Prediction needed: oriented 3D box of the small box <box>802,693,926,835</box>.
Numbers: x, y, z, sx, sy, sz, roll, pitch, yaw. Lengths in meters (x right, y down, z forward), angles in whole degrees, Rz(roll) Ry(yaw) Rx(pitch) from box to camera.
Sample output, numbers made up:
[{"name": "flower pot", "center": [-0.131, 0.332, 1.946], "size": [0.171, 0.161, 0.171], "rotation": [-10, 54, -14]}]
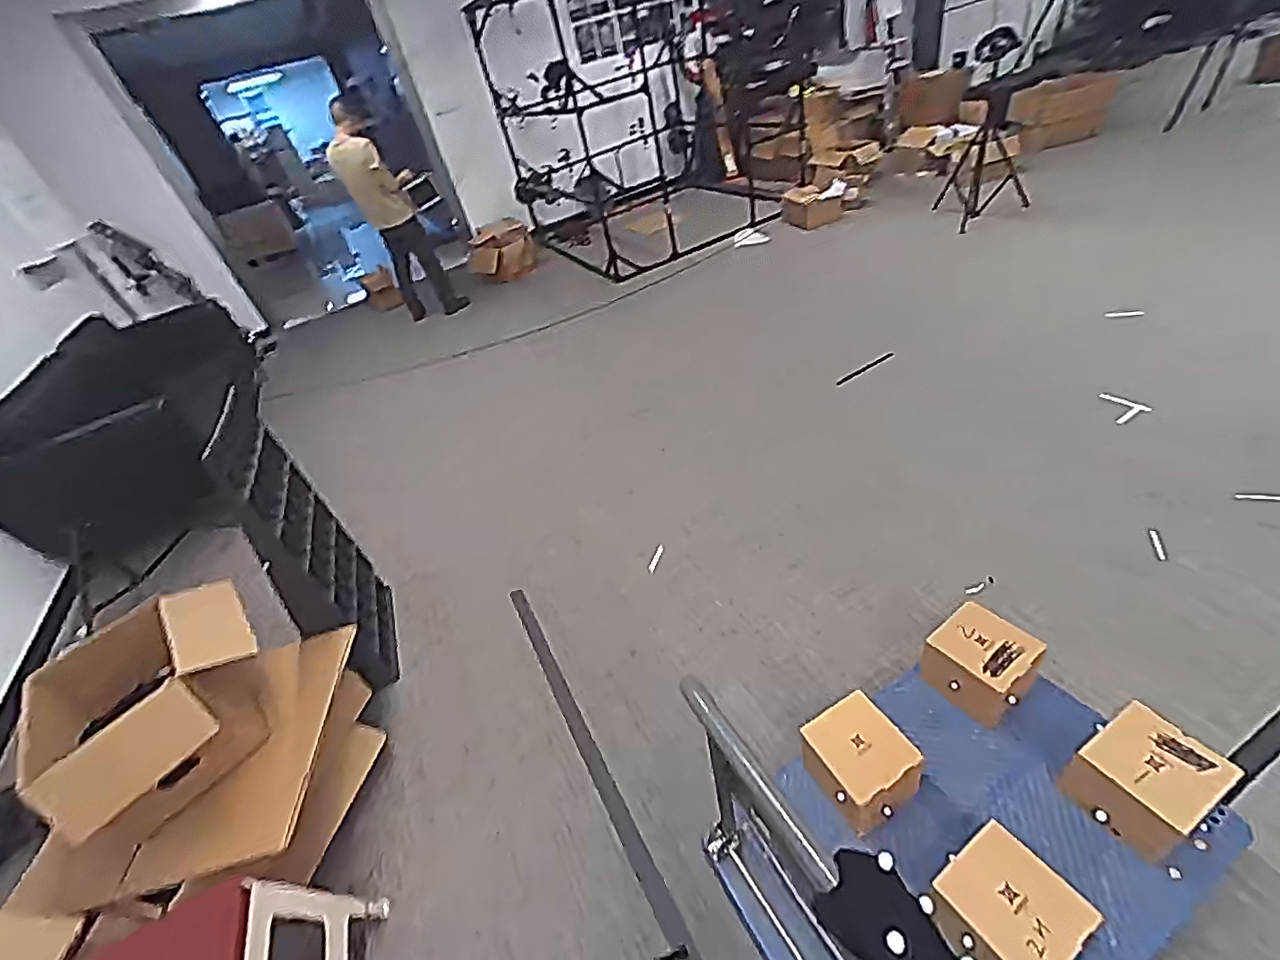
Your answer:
[{"name": "small box", "center": [0.462, 0.599, 1.140], "size": [0.168, 0.176, 0.179], "rotation": [-27, 40, -14]}]

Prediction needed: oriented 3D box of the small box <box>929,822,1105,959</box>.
[{"name": "small box", "center": [0.617, 0.736, 0.910], "size": [0.168, 0.176, 0.179], "rotation": [-31, 39, -18]}]

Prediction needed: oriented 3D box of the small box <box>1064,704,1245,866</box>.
[{"name": "small box", "center": [0.939, 0.566, 1.006], "size": [0.179, 0.176, 0.168], "rotation": [-29, 39, -14]}]
